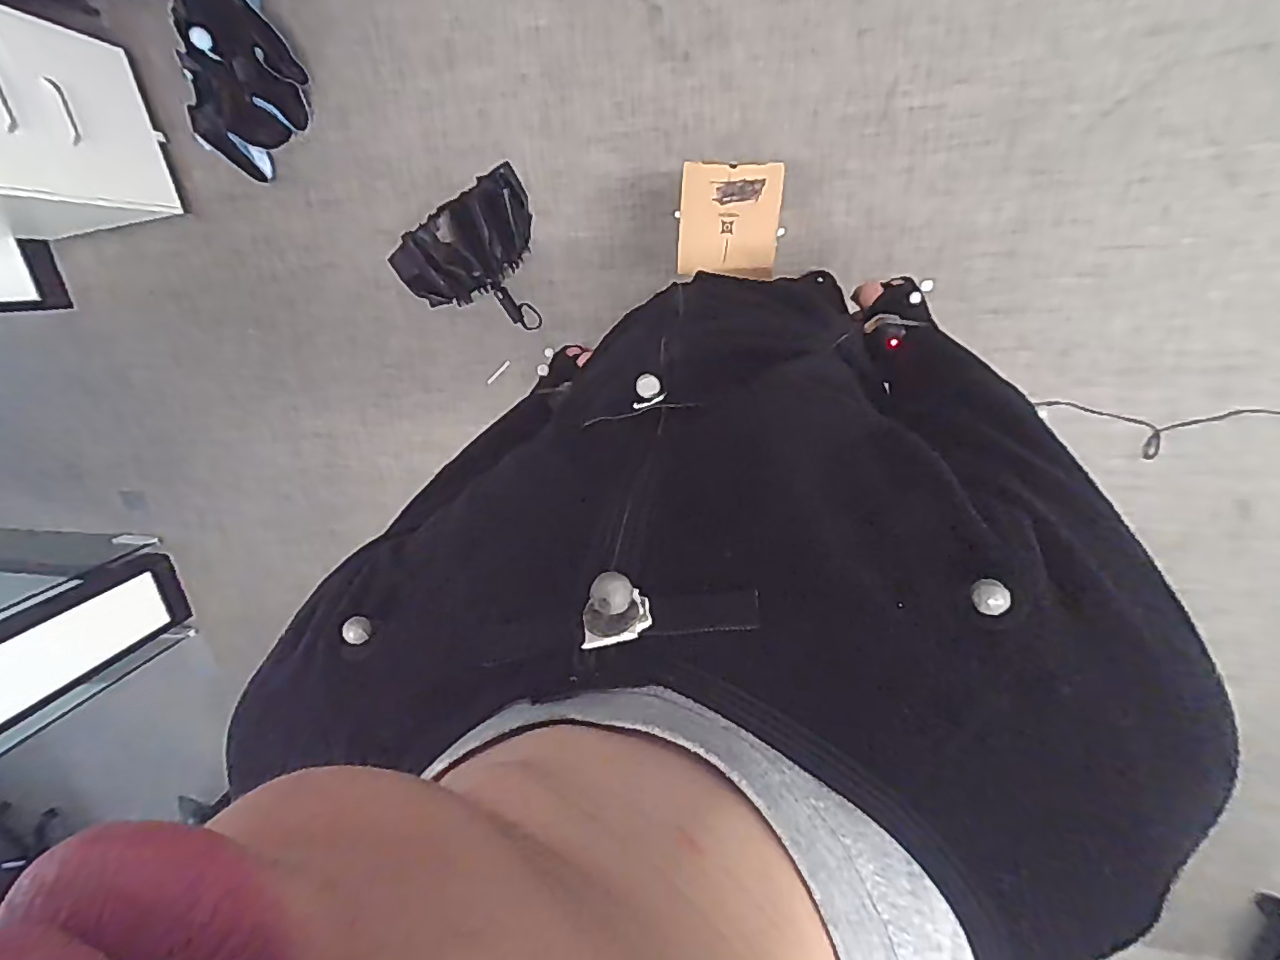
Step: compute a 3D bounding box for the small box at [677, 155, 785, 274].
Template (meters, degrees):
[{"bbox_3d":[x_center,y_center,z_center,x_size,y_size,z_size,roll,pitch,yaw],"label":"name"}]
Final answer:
[{"bbox_3d":[0.161,-0.471,0.978,0.168,0.176,0.179,6,113,9],"label":"small box"}]
